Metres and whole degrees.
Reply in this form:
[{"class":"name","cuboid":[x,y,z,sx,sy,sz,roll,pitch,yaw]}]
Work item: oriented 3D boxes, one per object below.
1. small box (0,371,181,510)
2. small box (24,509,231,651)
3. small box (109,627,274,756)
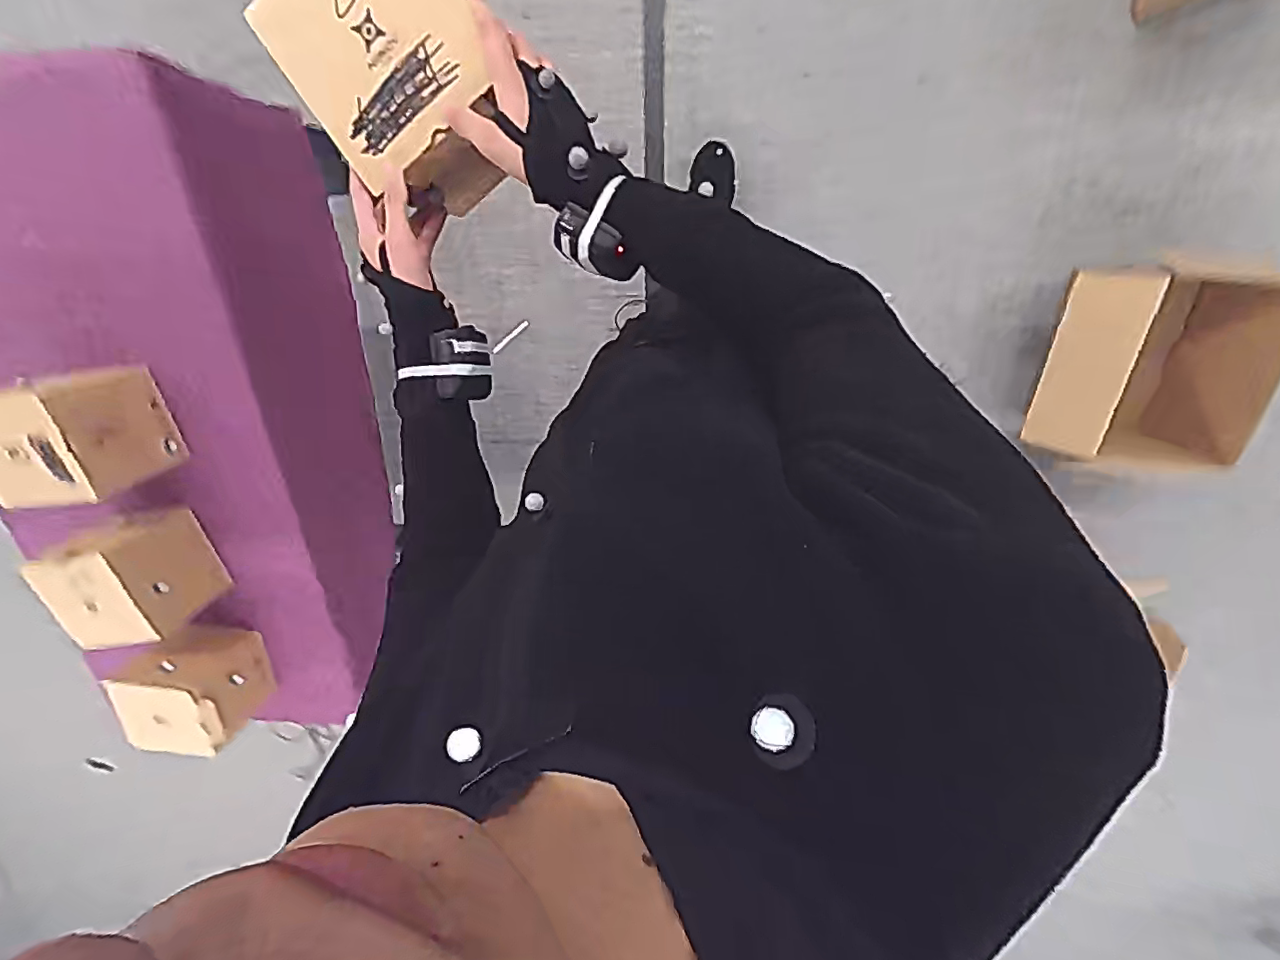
[{"class":"small box","cuboid":[-0.883,-0.068,0.853,0.179,0.176,0.168,-4,114,8]},{"class":"small box","cuboid":[-0.889,0.174,0.962,0.168,0.176,0.179,-9,113,8]},{"class":"small box","cuboid":[-0.864,0.411,1.068,0.179,0.176,0.168,4,114,4]}]
